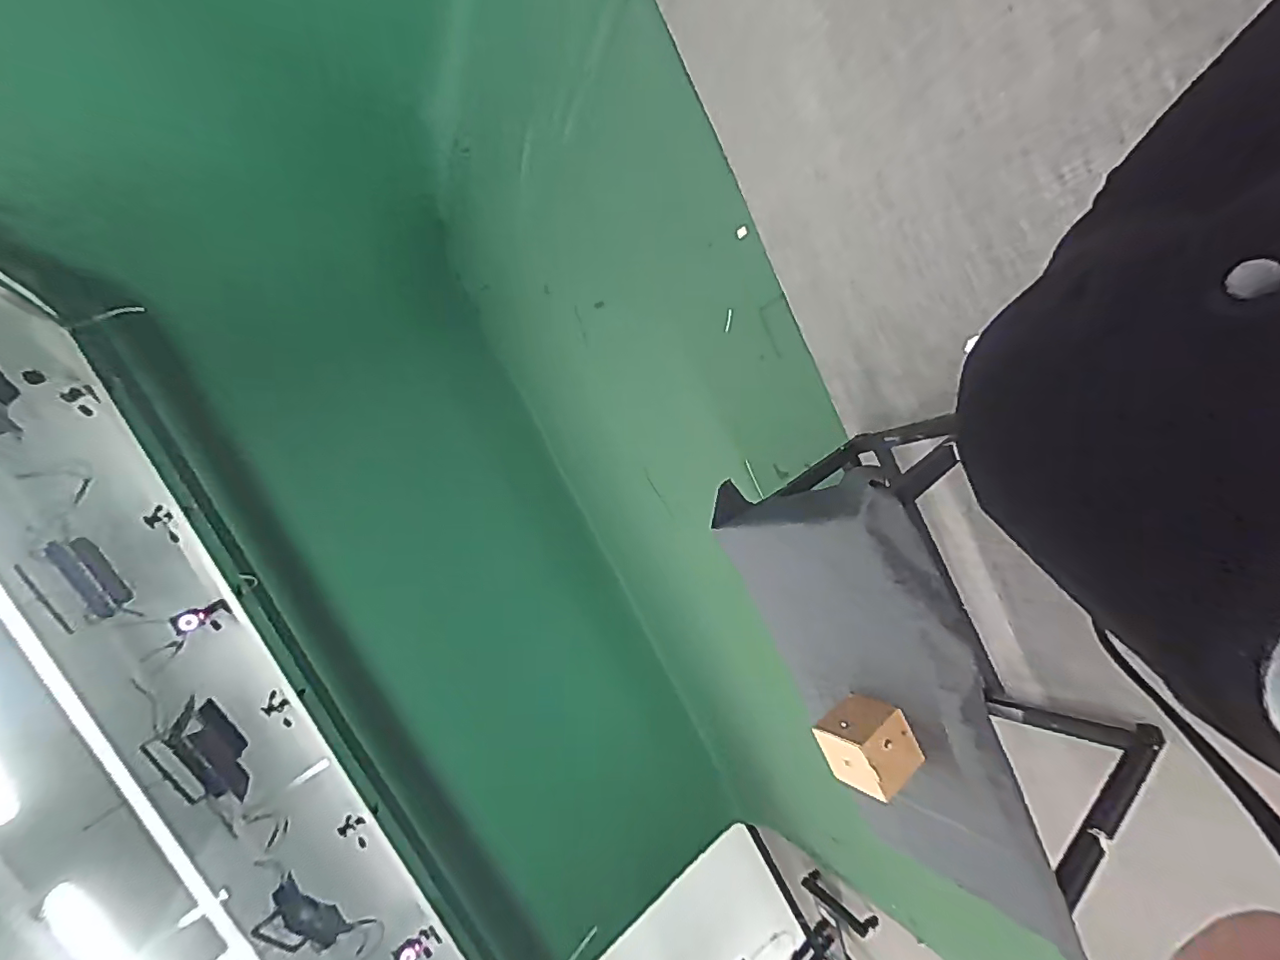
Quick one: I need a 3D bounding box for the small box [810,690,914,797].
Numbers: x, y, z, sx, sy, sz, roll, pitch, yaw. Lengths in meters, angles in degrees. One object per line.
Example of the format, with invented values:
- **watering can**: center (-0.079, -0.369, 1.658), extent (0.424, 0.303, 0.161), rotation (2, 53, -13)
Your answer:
- **small box**: center (0.599, 0.693, 1.447), extent (0.168, 0.176, 0.179), rotation (64, 155, -5)
